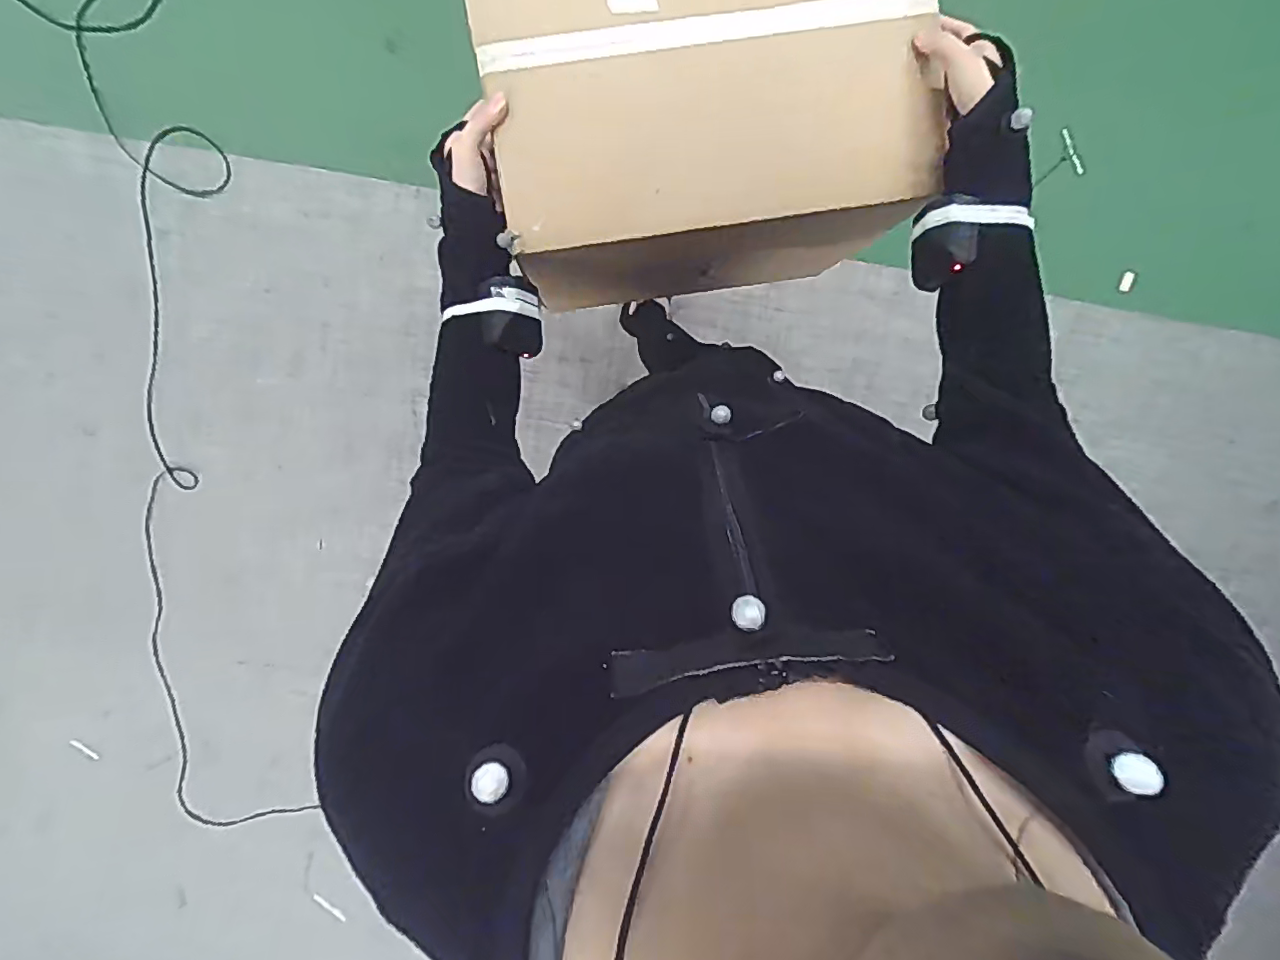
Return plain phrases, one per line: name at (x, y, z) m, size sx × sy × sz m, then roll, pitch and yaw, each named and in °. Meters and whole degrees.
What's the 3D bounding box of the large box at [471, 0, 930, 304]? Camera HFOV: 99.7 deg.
large box at (0.052, -0.411, 0.630) m, size 0.408 × 0.320 × 0.320 m, roll -8°, pitch 98°, yaw -2°
